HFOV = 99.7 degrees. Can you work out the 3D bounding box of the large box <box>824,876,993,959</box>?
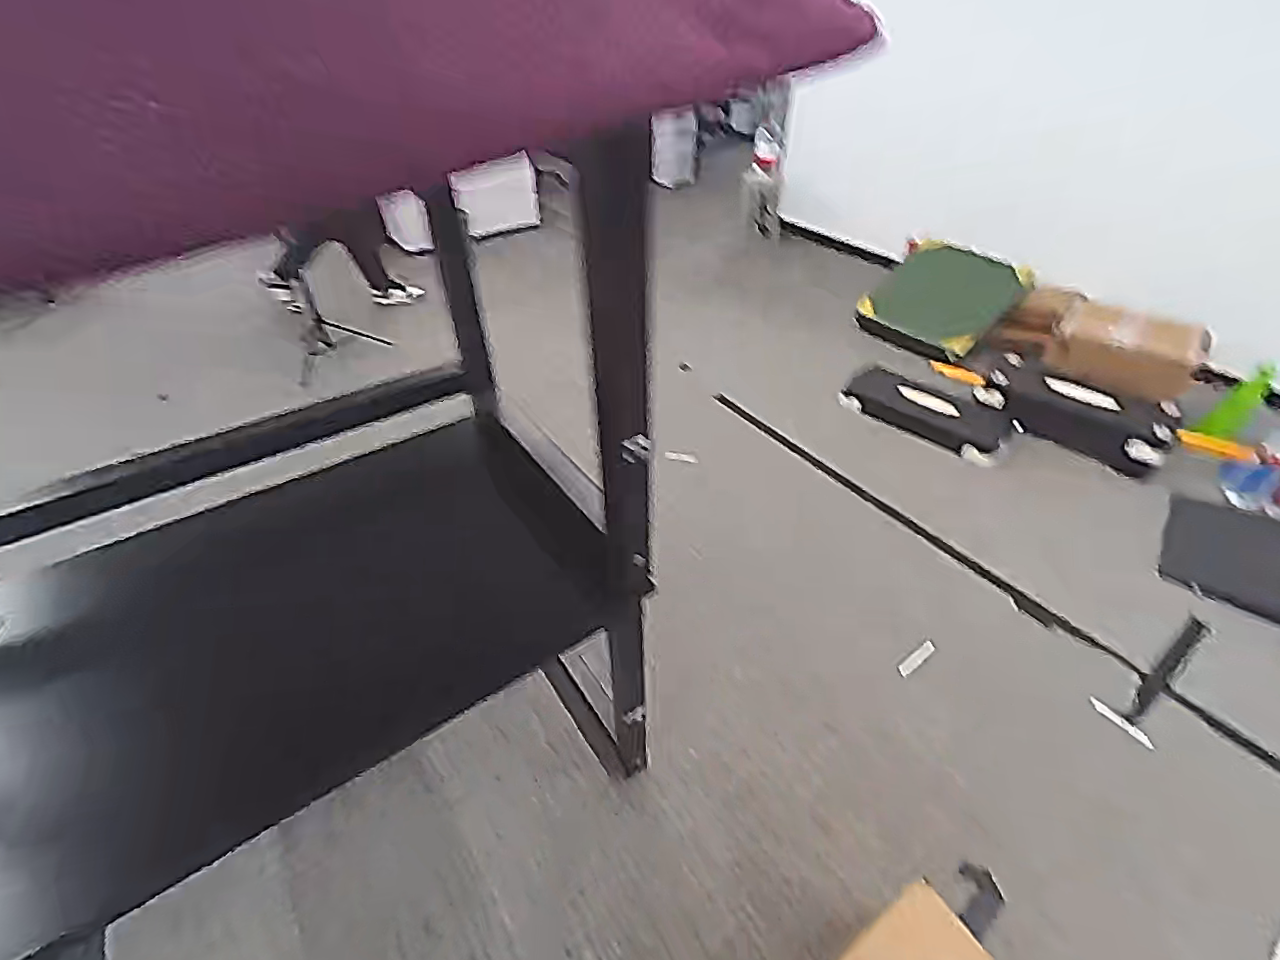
[{"bbox_3d":[0.392,0.940,0.841,0.408,0.320,0.320,-23,48,-24],"label":"large box"}]
